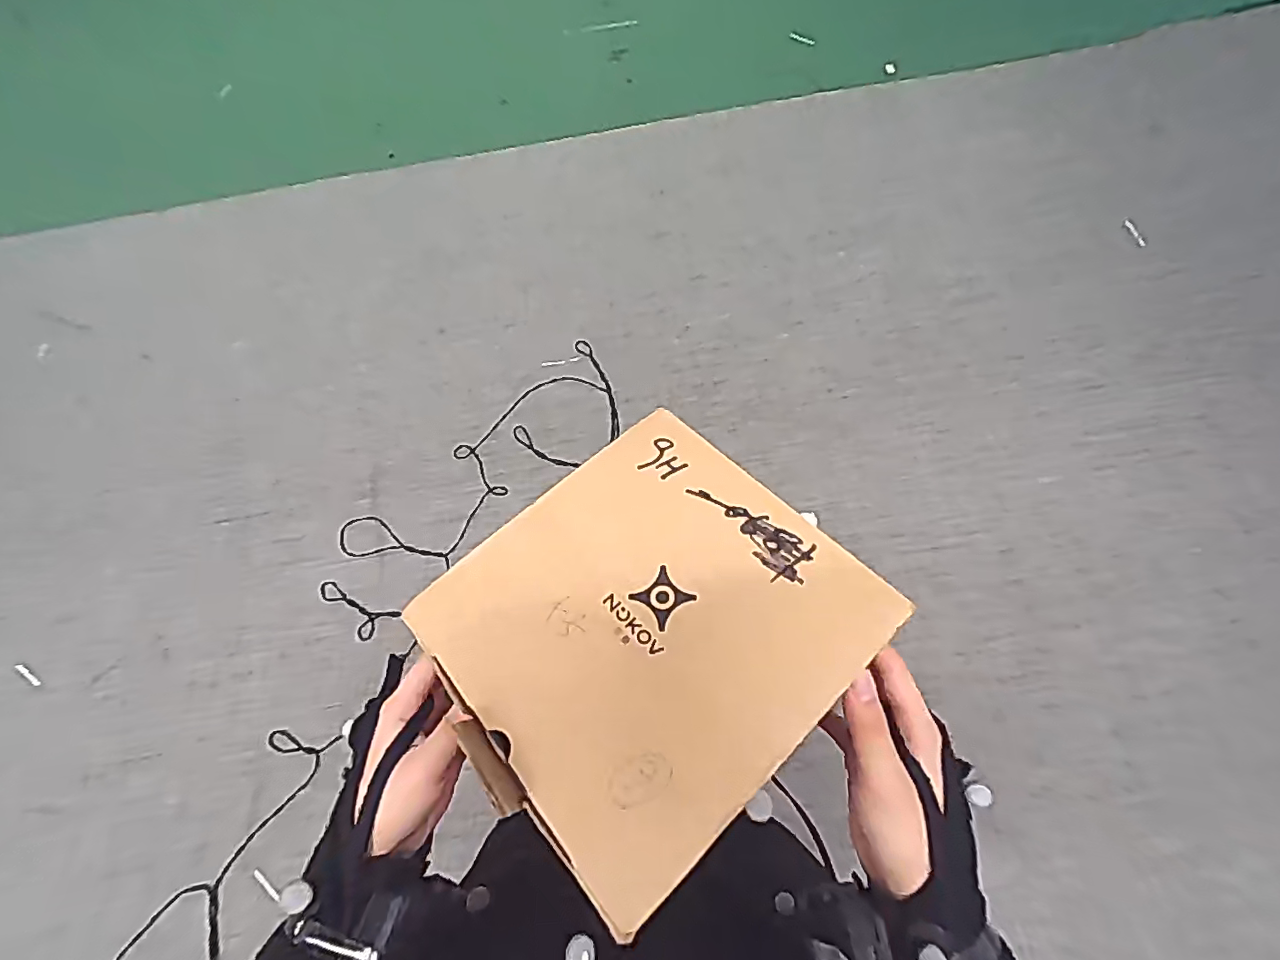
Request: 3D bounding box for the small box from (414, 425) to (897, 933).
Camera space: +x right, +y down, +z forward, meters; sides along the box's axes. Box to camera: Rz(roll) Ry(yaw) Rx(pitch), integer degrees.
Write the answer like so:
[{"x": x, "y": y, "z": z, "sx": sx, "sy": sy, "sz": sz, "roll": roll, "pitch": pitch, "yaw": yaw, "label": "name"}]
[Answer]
[{"x": 0.011, "y": 0.109, "z": 0.323, "sx": 0.179, "sy": 0.176, "sz": 0.168, "roll": -40, "pitch": 63, "yaw": -17, "label": "small box"}]
